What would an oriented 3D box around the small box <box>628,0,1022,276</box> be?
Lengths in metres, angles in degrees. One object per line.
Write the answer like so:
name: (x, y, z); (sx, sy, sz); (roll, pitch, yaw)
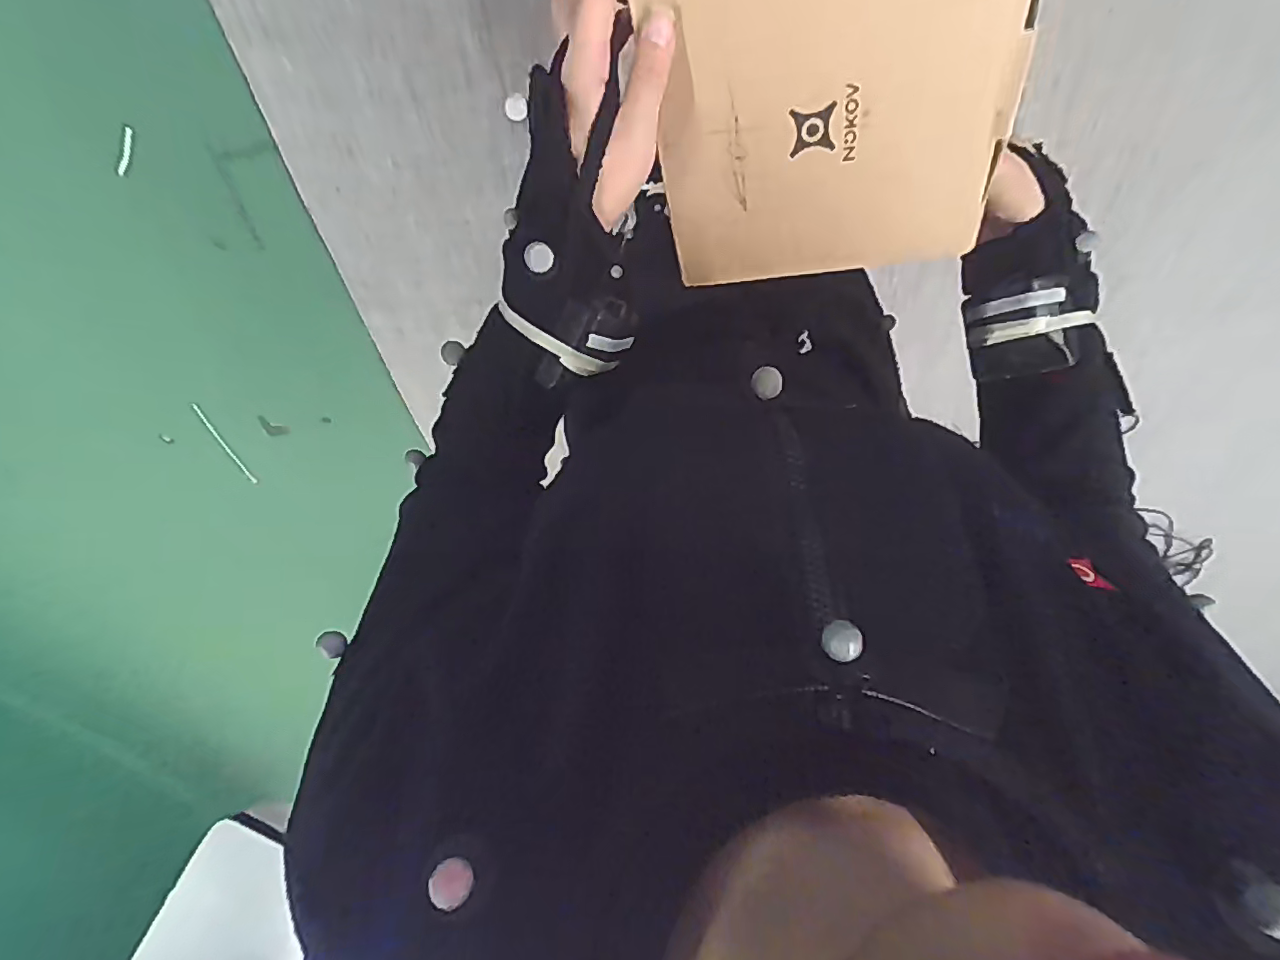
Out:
small box: (0.105, -0.253, 0.331); (0.179, 0.176, 0.168); (0, 141, 17)
